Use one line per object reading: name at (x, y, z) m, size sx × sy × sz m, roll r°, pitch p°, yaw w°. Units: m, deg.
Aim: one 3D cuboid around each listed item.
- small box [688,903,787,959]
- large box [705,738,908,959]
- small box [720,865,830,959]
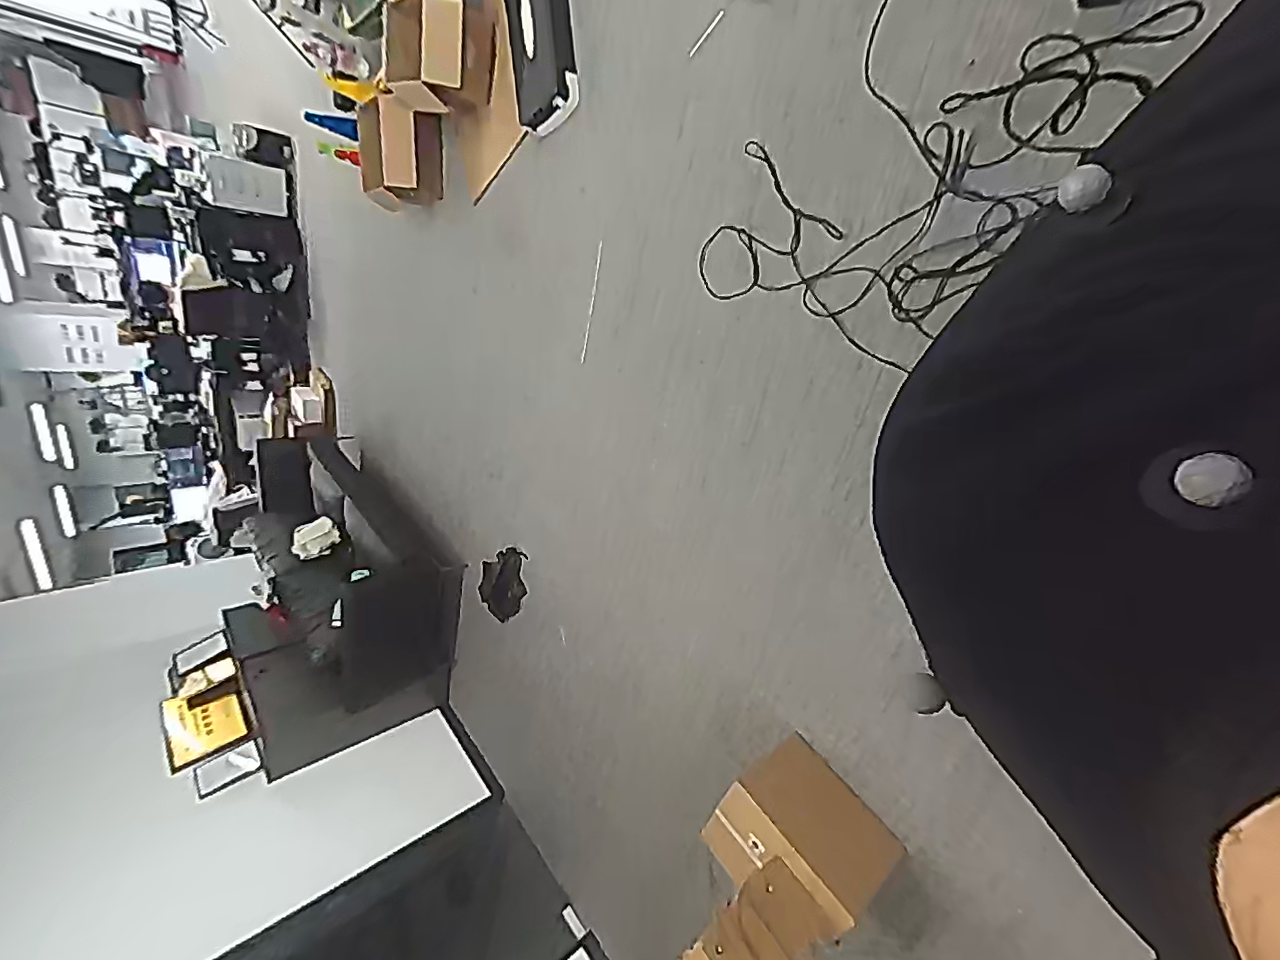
small box at (0.226, 1.140, 1.246) m, size 0.179 × 0.176 × 0.168 m, roll 44°, pitch 128°, yaw 34°
large box at (0.471, 1.060, 1.568) m, size 0.408 × 0.320 × 0.320 m, roll 42°, pitch 125°, yaw 35°
small box at (0.339, 1.120, 1.361) m, size 0.179 × 0.176 × 0.168 m, roll 41°, pitch 127°, yaw 34°
